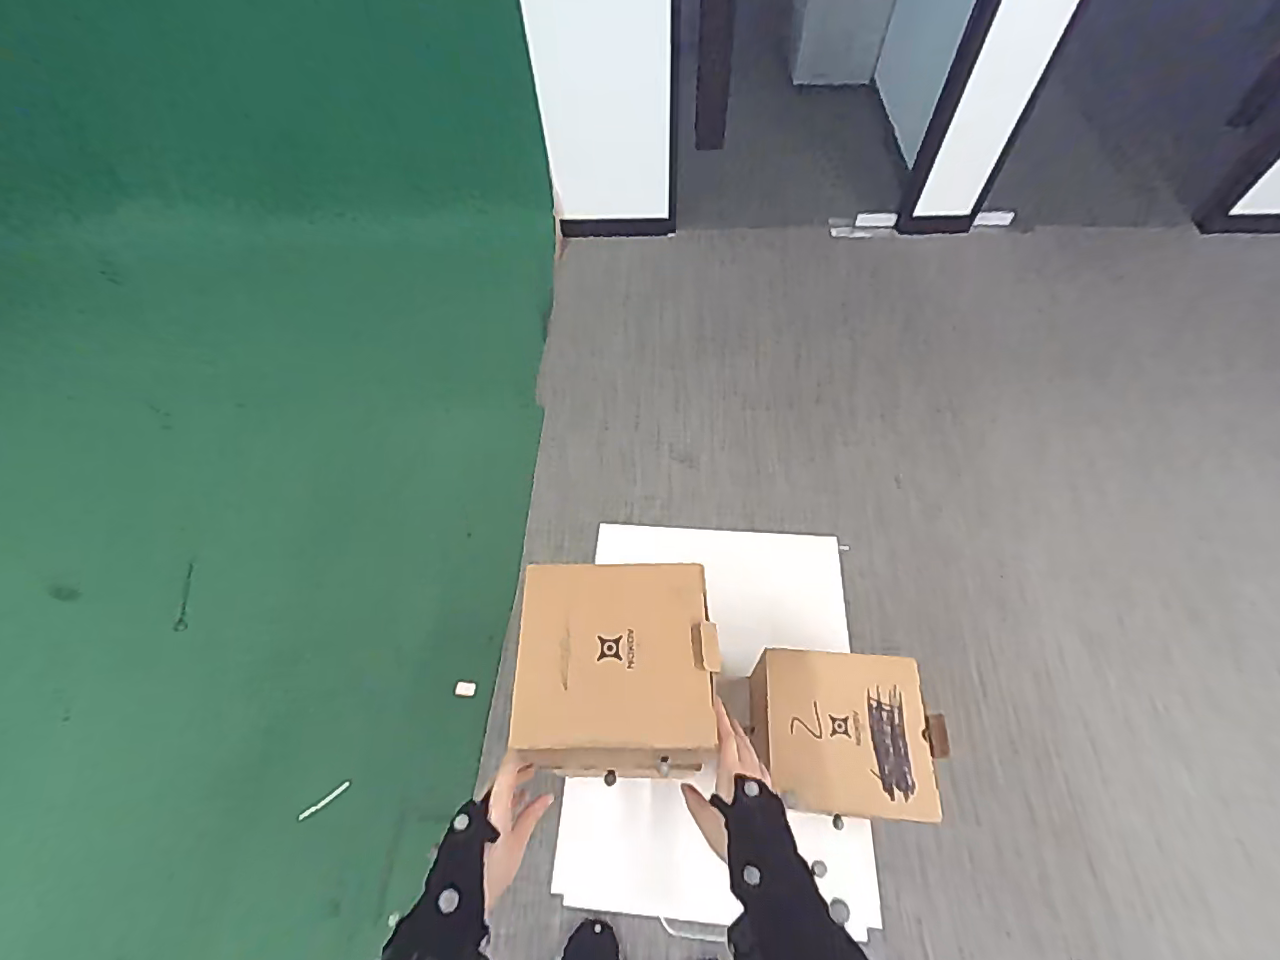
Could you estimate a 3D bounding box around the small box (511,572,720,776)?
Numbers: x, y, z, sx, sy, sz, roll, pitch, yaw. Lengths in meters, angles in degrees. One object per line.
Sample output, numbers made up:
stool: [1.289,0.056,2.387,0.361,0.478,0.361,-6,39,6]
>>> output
small box: [-0.021,0.203,0.556,0.179,0.176,0.168,-1,57,0]
